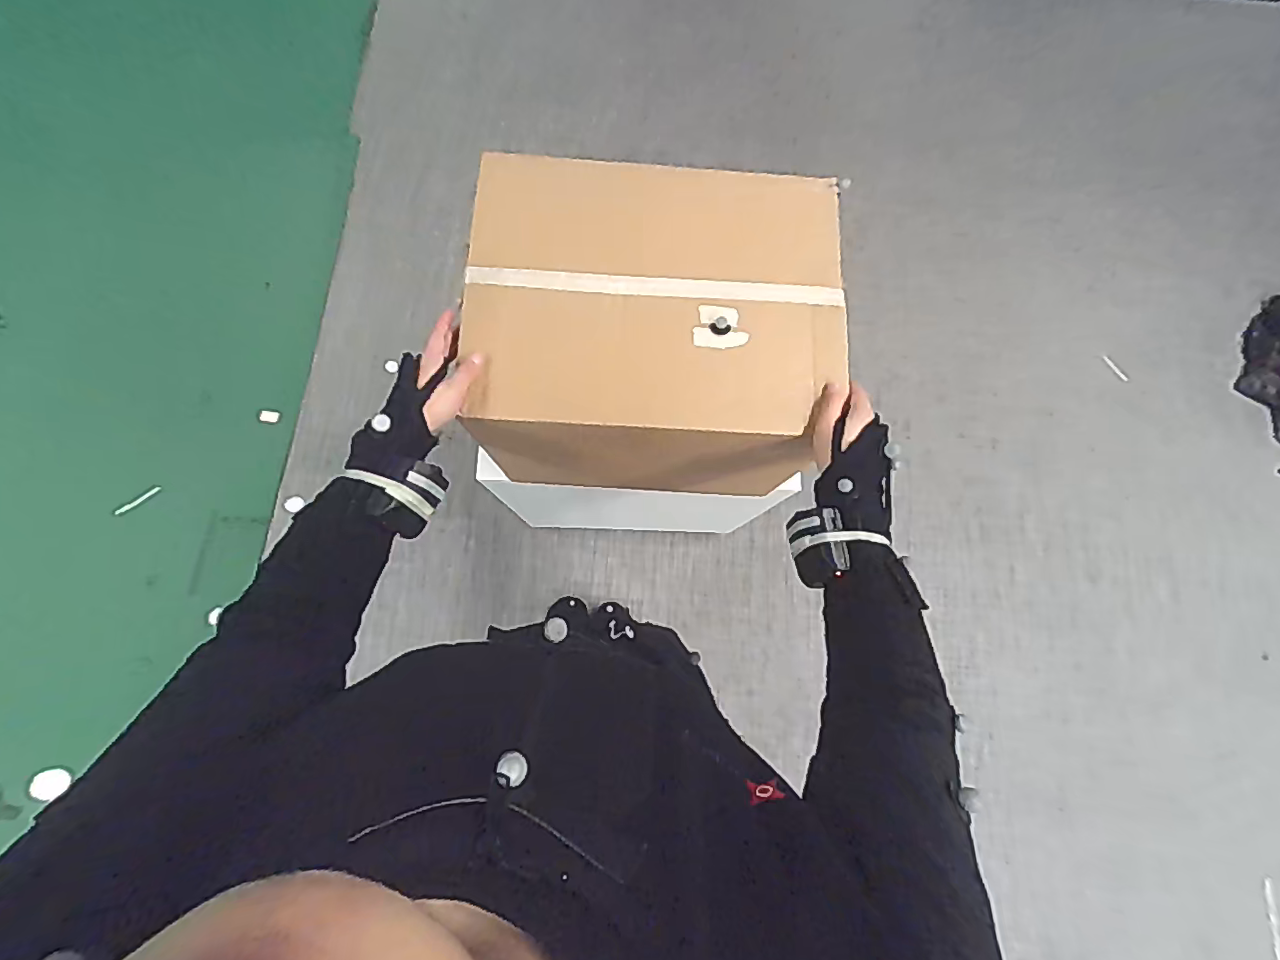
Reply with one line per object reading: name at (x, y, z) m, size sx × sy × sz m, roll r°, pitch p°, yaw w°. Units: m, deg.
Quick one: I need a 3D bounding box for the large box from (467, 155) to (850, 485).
large box at (0.014, -0.177, 0.728) m, size 0.408 × 0.320 × 0.320 m, roll 3°, pitch 78°, yaw -3°
